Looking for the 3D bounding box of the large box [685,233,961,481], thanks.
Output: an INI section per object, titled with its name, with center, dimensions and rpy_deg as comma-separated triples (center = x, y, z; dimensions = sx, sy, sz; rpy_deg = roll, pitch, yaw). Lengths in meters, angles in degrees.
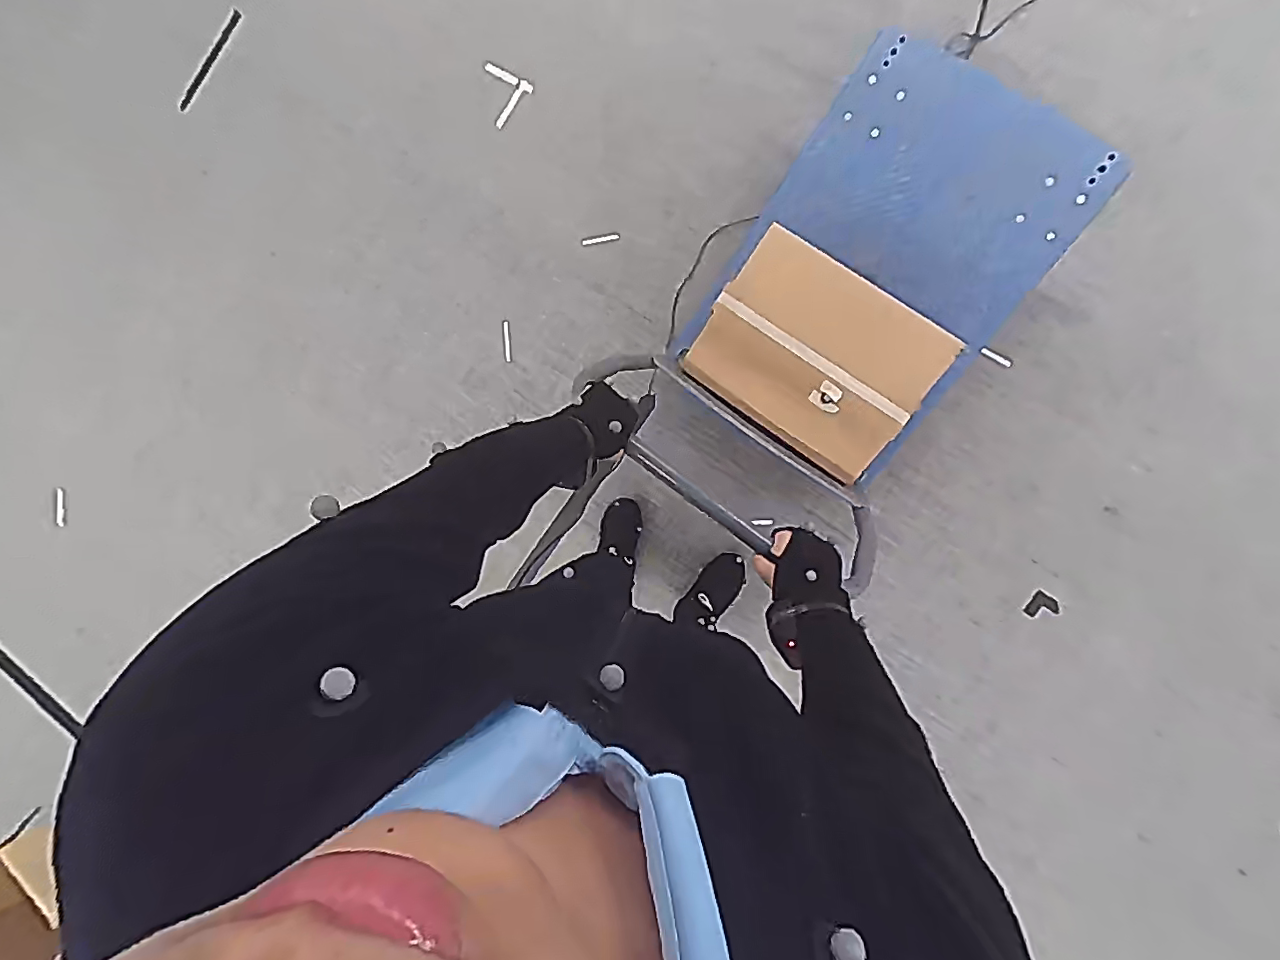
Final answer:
[large box]
center = 0.364, -0.253, 1.156
dimensions = 0.408, 0.320, 0.320
rpy_deg = 36, 108, 7
